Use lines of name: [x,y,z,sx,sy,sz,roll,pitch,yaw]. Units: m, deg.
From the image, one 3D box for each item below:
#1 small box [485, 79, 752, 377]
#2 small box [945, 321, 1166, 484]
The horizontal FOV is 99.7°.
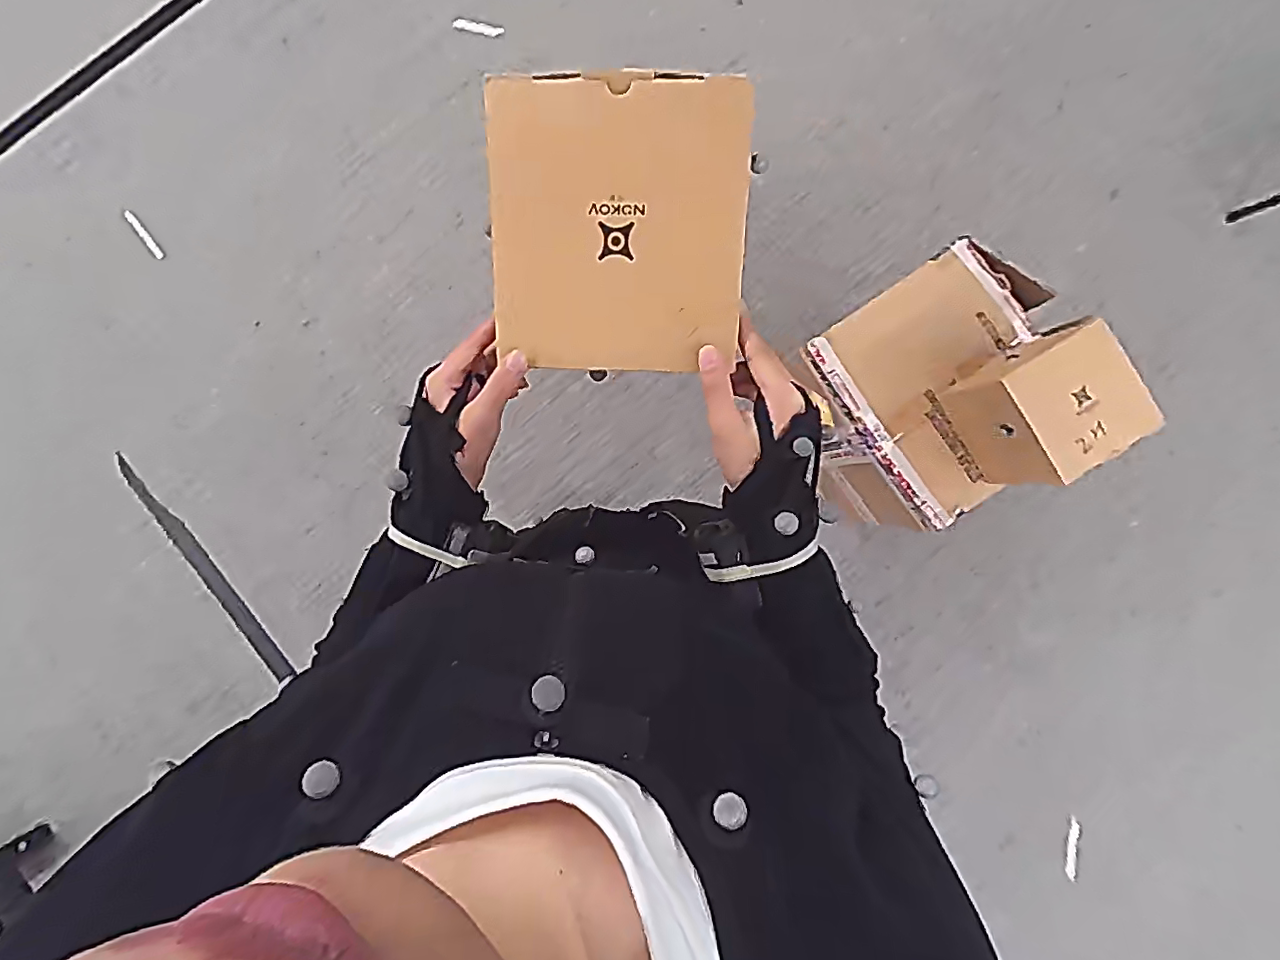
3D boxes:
small box: [-0.009,-0.179,0.425,0.168,0.176,0.179,1,106,3]
small box: [0.610,-0.106,0.821,0.168,0.176,0.179,-31,91,1]
